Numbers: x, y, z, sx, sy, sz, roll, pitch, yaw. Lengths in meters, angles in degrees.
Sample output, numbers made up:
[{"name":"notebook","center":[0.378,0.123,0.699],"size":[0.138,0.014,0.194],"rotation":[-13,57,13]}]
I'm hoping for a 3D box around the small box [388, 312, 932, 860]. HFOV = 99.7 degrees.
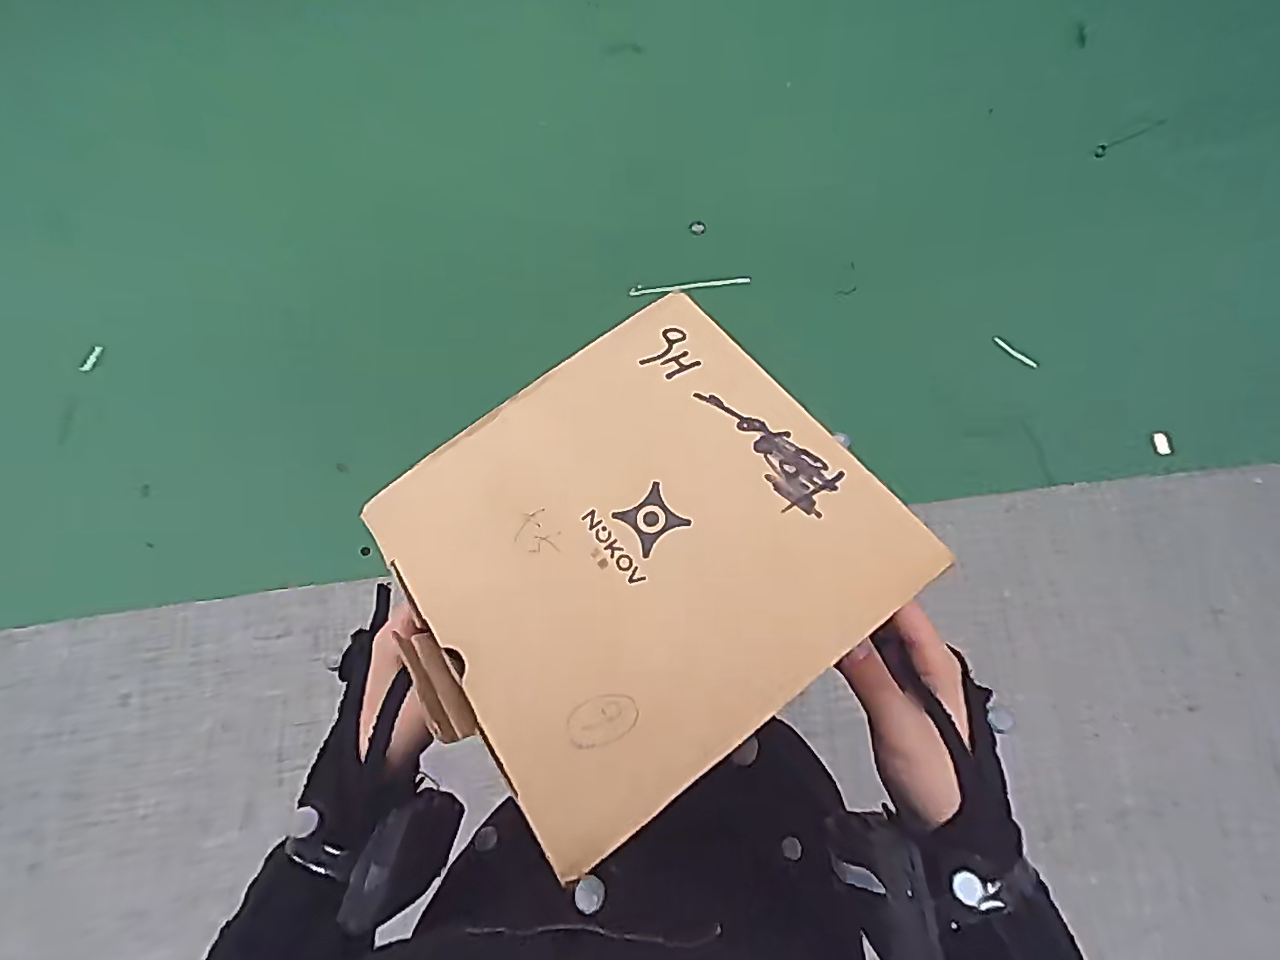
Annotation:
[{"name":"small box","center":[0.010,0.054,0.299],"size":[0.179,0.176,0.168],"rotation":[-37,69,-7]}]
